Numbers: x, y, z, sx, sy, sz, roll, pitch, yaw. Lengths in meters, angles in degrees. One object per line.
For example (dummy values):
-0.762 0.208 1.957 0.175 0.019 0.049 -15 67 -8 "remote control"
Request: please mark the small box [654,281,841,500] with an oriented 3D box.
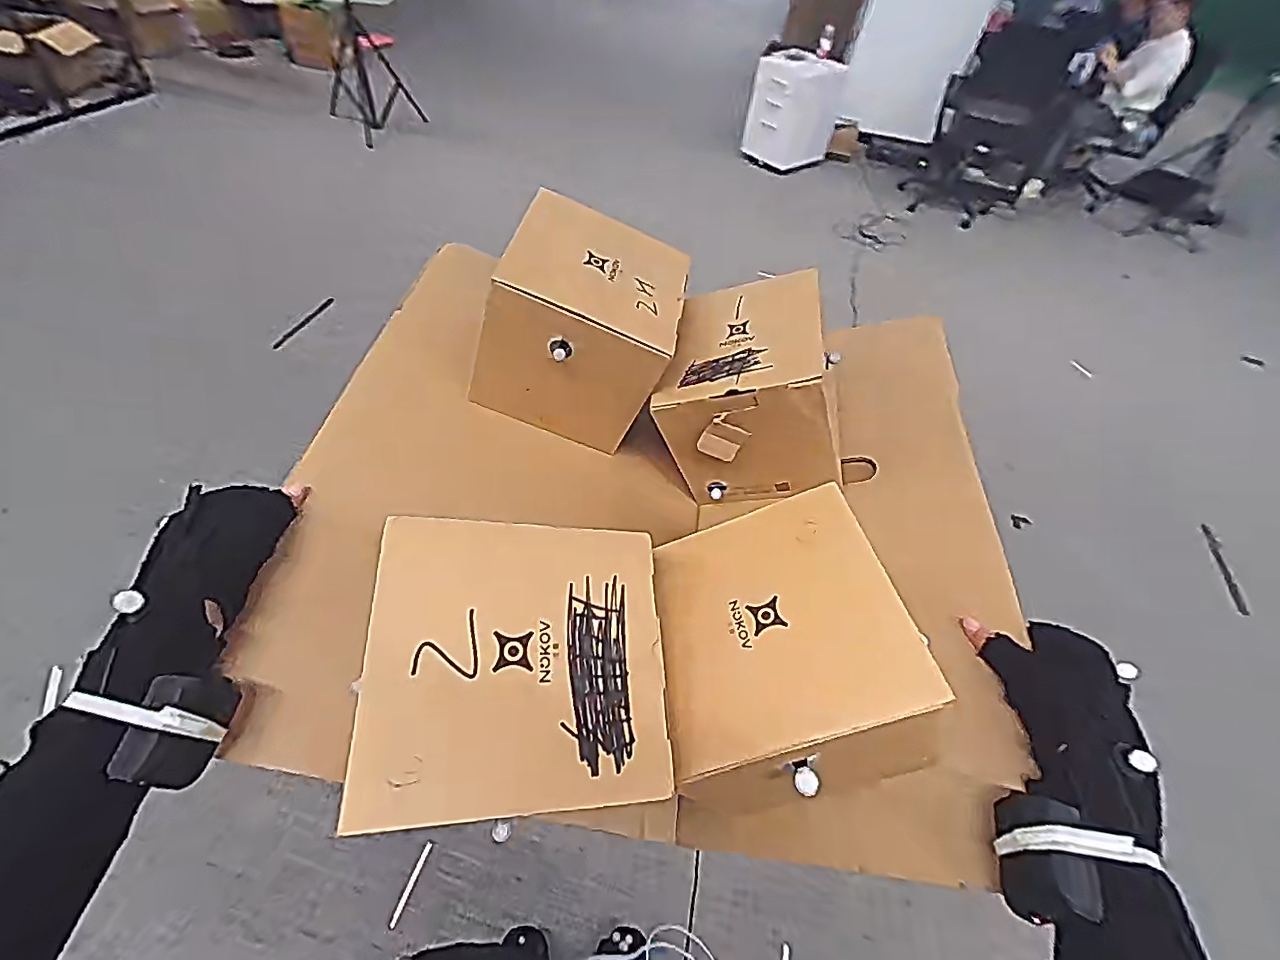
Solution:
0.132 -0.088 0.613 0.168 0.176 0.179 -5 49 23 "small box"
